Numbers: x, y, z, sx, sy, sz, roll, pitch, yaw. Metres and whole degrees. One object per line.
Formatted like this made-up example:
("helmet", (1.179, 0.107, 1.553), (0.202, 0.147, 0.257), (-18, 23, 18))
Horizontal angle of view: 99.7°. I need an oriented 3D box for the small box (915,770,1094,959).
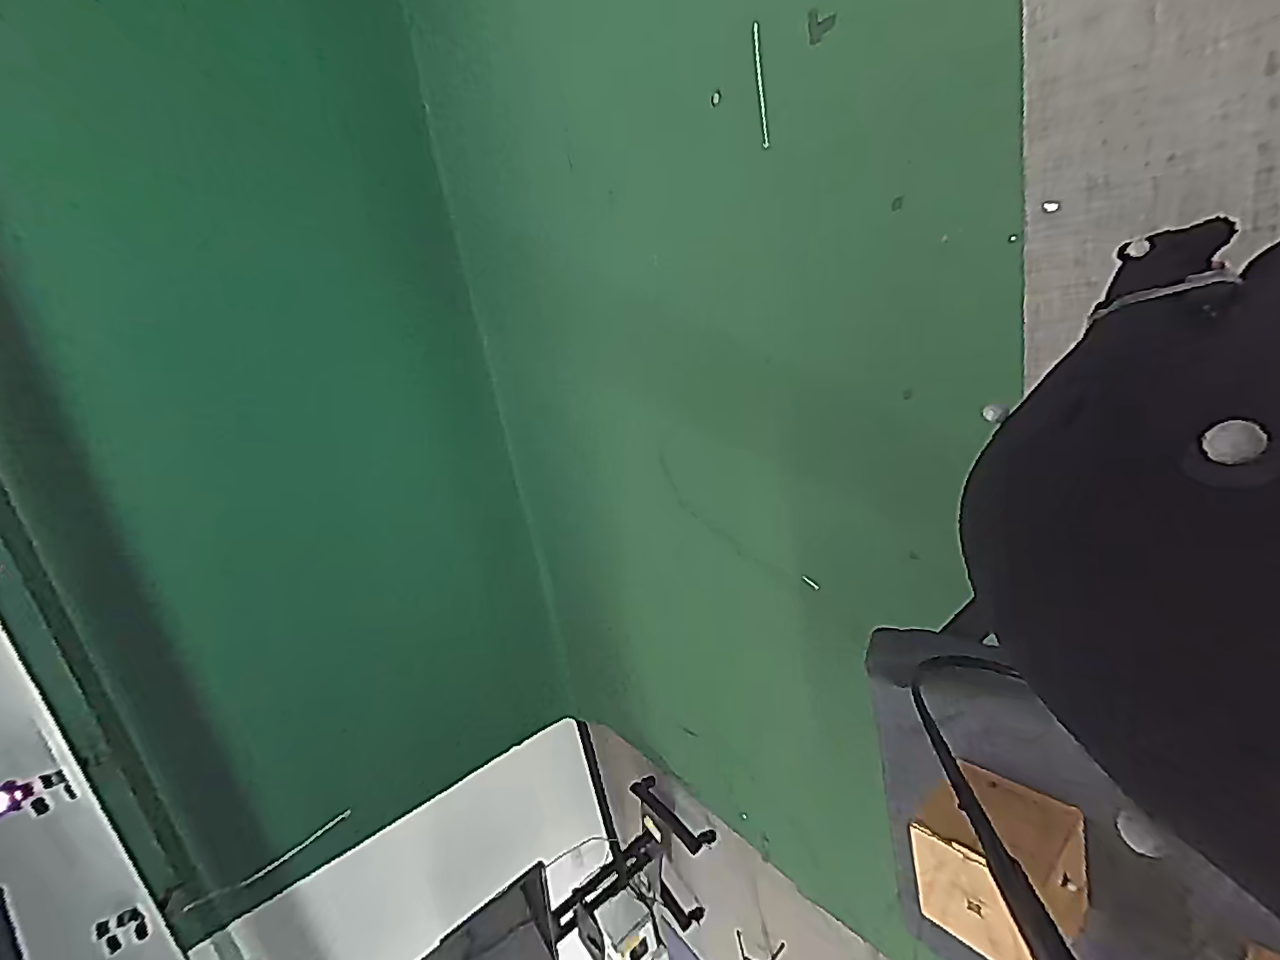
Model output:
("small box", (0.535, 0.572, 0.792), (0.168, 0.176, 0.179), (3, 111, 55))
